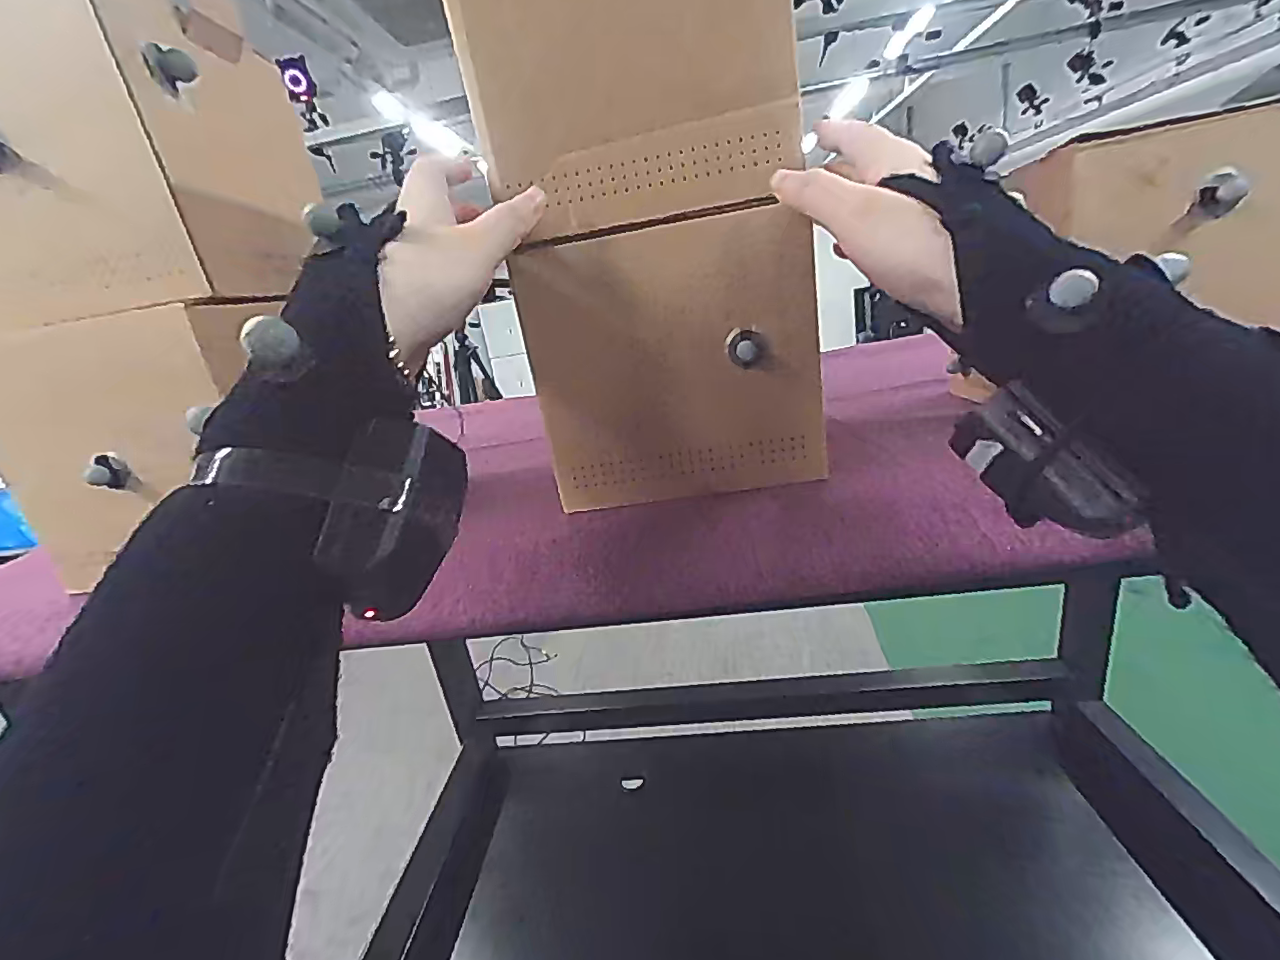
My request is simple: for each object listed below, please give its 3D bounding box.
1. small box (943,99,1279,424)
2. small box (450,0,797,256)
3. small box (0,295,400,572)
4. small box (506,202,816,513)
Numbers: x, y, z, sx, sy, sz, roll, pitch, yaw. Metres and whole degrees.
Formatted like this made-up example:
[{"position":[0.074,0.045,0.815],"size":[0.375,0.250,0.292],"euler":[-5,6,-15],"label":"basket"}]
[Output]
[{"position":[0.344,-0.142,0.389],"size":[0.179,0.176,0.168],"euler":[-7,16,9],"label":"small box"},{"position":[-0.007,-0.242,0.356],"size":[0.179,0.176,0.168],"euler":[-8,18,4],"label":"small box"},{"position":[-0.313,-0.039,0.415],"size":[0.168,0.176,0.179],"euler":[-7,19,5],"label":"small box"},{"position":[0.026,-0.088,0.403],"size":[0.179,0.176,0.168],"euler":[-9,17,7],"label":"small box"}]
